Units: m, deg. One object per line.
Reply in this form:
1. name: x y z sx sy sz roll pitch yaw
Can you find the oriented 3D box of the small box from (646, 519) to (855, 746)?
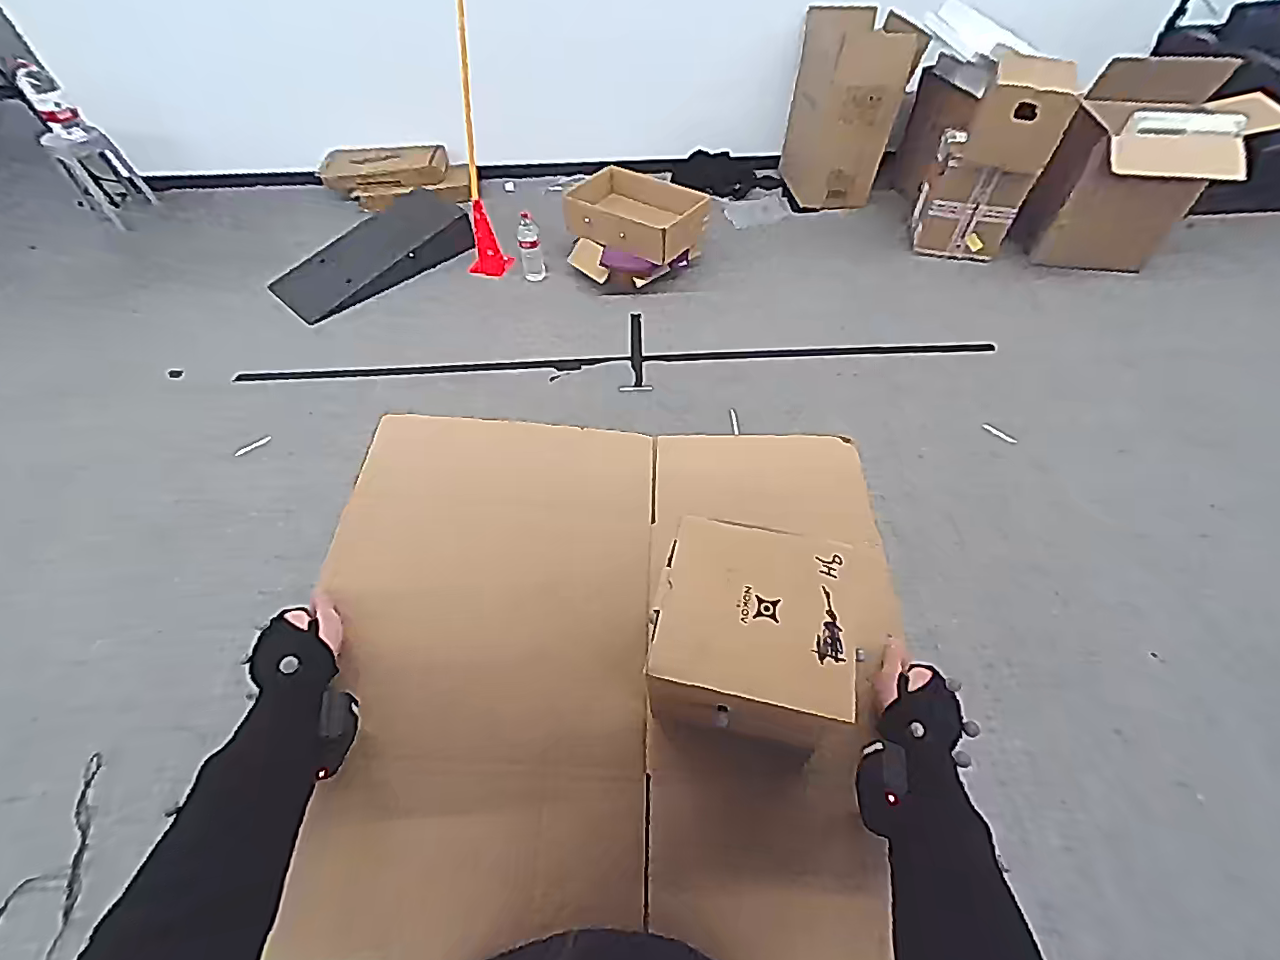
1. small box: 0.114 0.163 0.566 0.179 0.176 0.168 9 57 11
